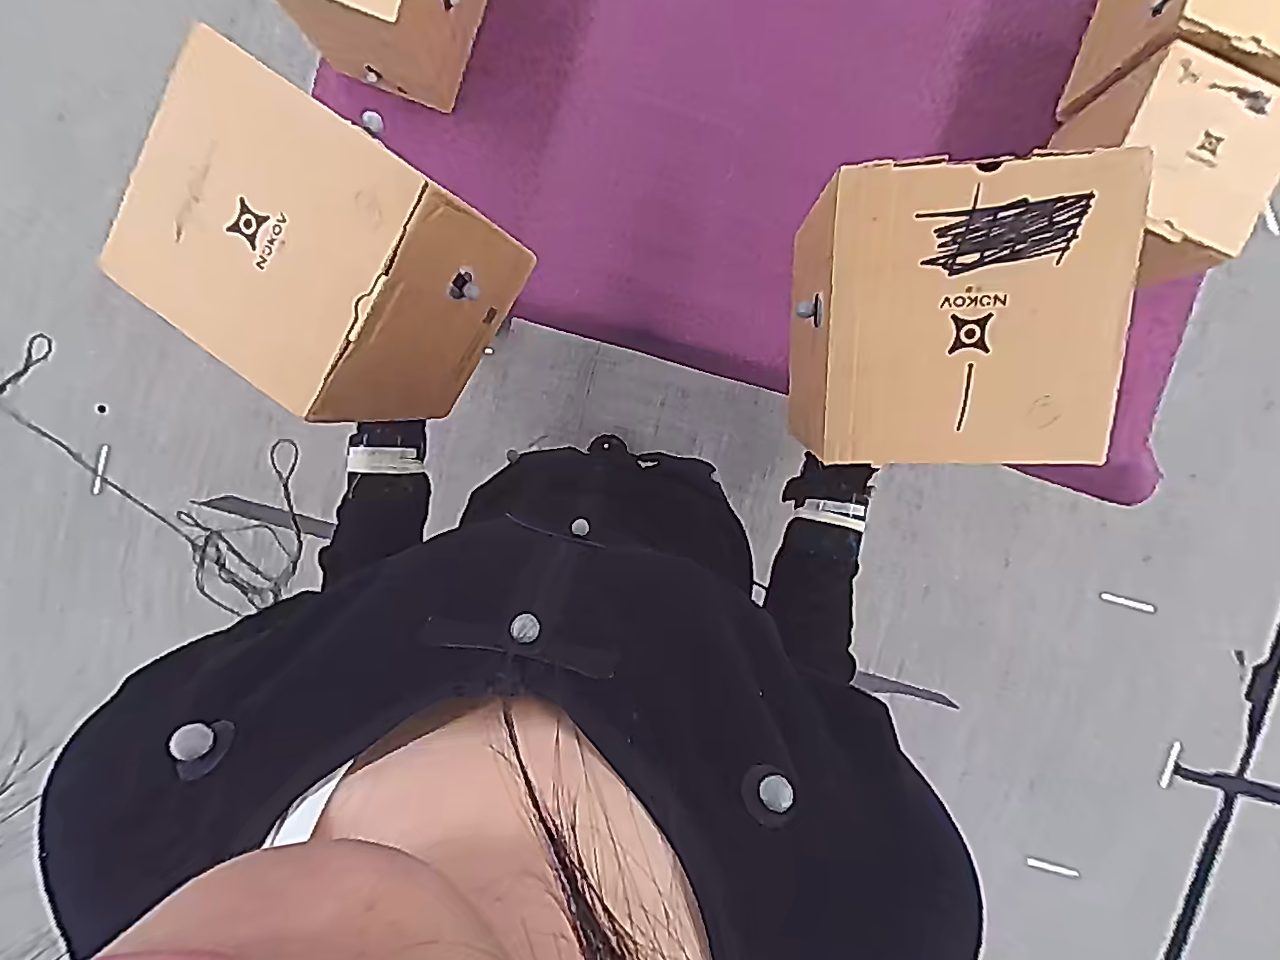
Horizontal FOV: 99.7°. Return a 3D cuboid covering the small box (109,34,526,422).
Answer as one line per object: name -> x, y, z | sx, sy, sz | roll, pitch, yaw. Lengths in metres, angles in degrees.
small box -> -0.216, -0.160, 0.406 | 0.179, 0.176, 0.168 | 35, 101, 5

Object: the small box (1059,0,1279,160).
small box -> 0.649, -0.526, 0.634 | 0.168, 0.176, 0.179 | 19, 94, -2

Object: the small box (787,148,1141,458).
small box -> 0.206, -0.116, 0.401 | 0.168, 0.176, 0.179 | 0, 103, 8
